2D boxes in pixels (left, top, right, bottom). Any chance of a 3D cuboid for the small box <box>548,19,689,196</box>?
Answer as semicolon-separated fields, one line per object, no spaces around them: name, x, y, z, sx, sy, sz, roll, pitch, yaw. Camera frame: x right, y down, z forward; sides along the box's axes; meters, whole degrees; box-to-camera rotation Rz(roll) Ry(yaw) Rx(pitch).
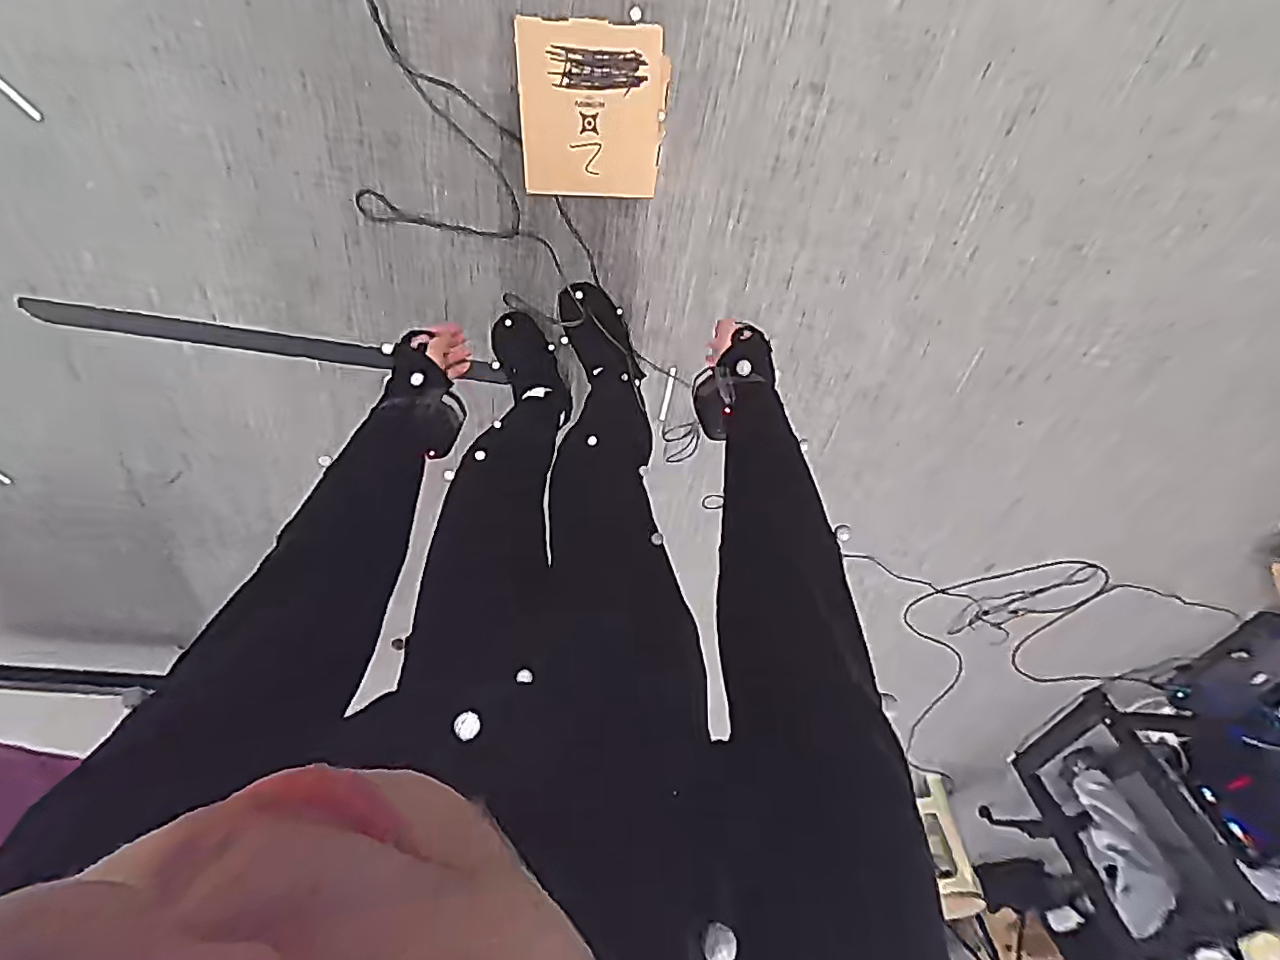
small box;-0.036;-0.540;0.811;0.168;0.176;0.179;-7;111;-21
